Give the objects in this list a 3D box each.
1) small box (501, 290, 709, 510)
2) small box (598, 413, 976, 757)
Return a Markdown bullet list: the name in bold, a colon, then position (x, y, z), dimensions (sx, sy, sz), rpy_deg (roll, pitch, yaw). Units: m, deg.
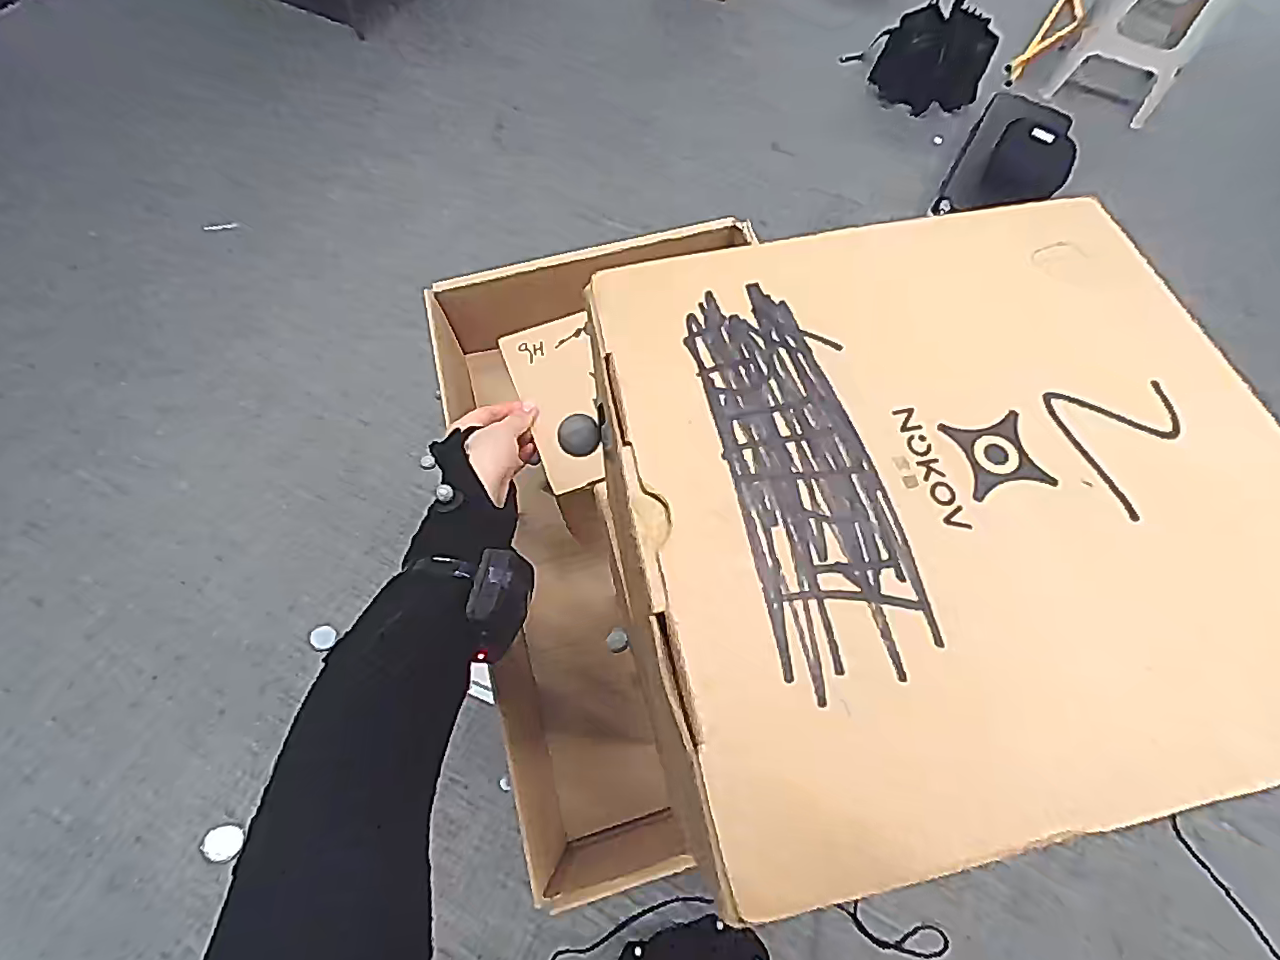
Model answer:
- **small box**: position (-0.039, -0.075, 0.612), dimensions (0.168, 0.176, 0.179), rpy_deg (-20, 78, -9)
- **small box**: position (0.076, 0.079, 0.380), dimensions (0.179, 0.176, 0.168), rpy_deg (-14, 66, -5)
